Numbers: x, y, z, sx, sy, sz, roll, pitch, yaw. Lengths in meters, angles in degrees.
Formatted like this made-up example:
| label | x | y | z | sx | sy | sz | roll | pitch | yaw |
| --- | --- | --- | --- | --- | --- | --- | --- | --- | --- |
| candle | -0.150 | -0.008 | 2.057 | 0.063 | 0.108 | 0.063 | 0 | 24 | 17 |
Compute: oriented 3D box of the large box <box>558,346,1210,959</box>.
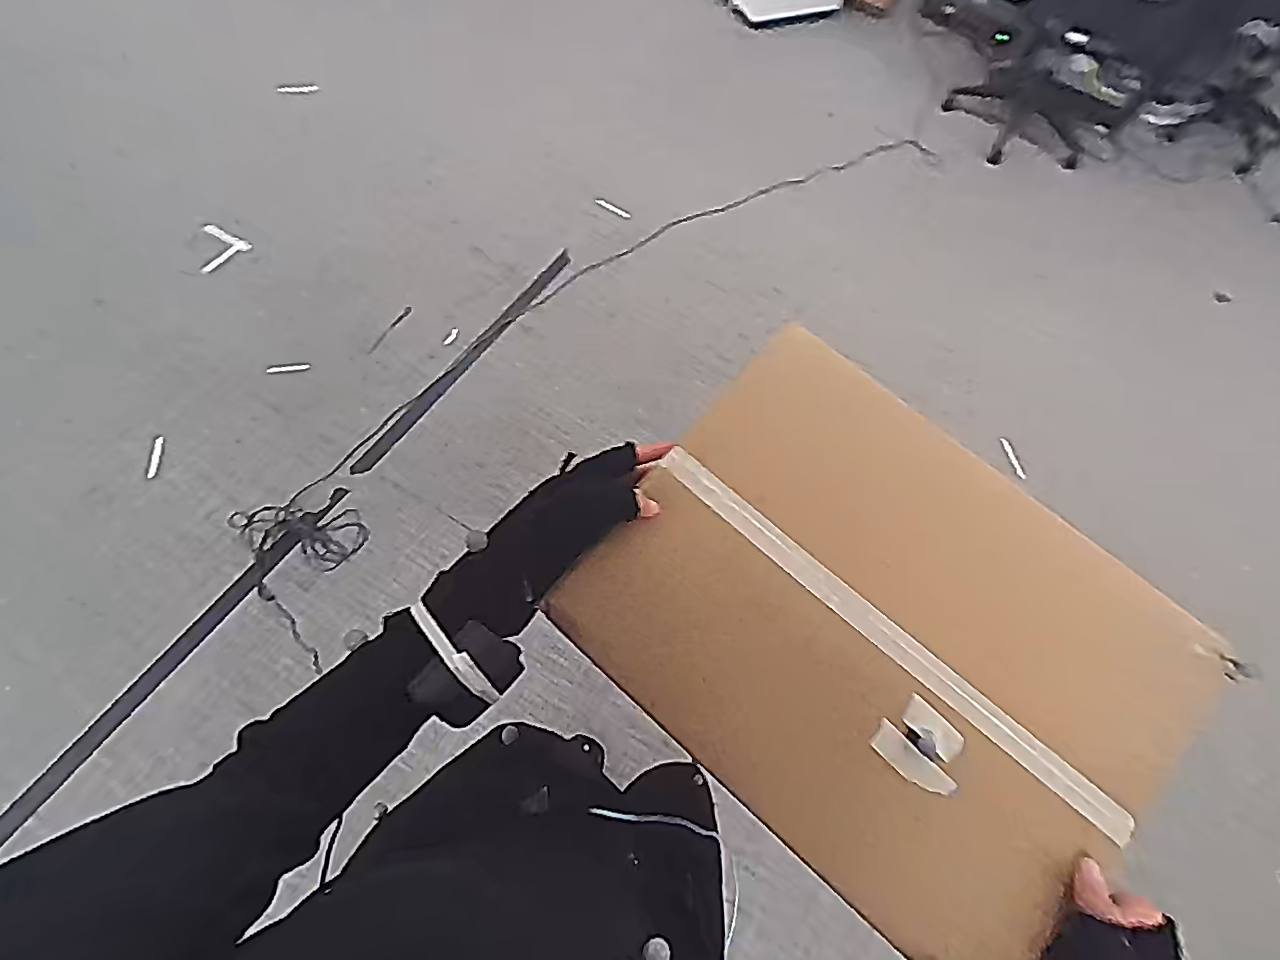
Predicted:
| label | x | y | z | sx | sy | sz | roll | pitch | yaw |
| --- | --- | --- | --- | --- | --- | --- | --- | --- | --- |
| large box | 0.182 | 0.149 | 0.557 | 0.408 | 0.320 | 0.320 | 41 | 82 | 9 |
